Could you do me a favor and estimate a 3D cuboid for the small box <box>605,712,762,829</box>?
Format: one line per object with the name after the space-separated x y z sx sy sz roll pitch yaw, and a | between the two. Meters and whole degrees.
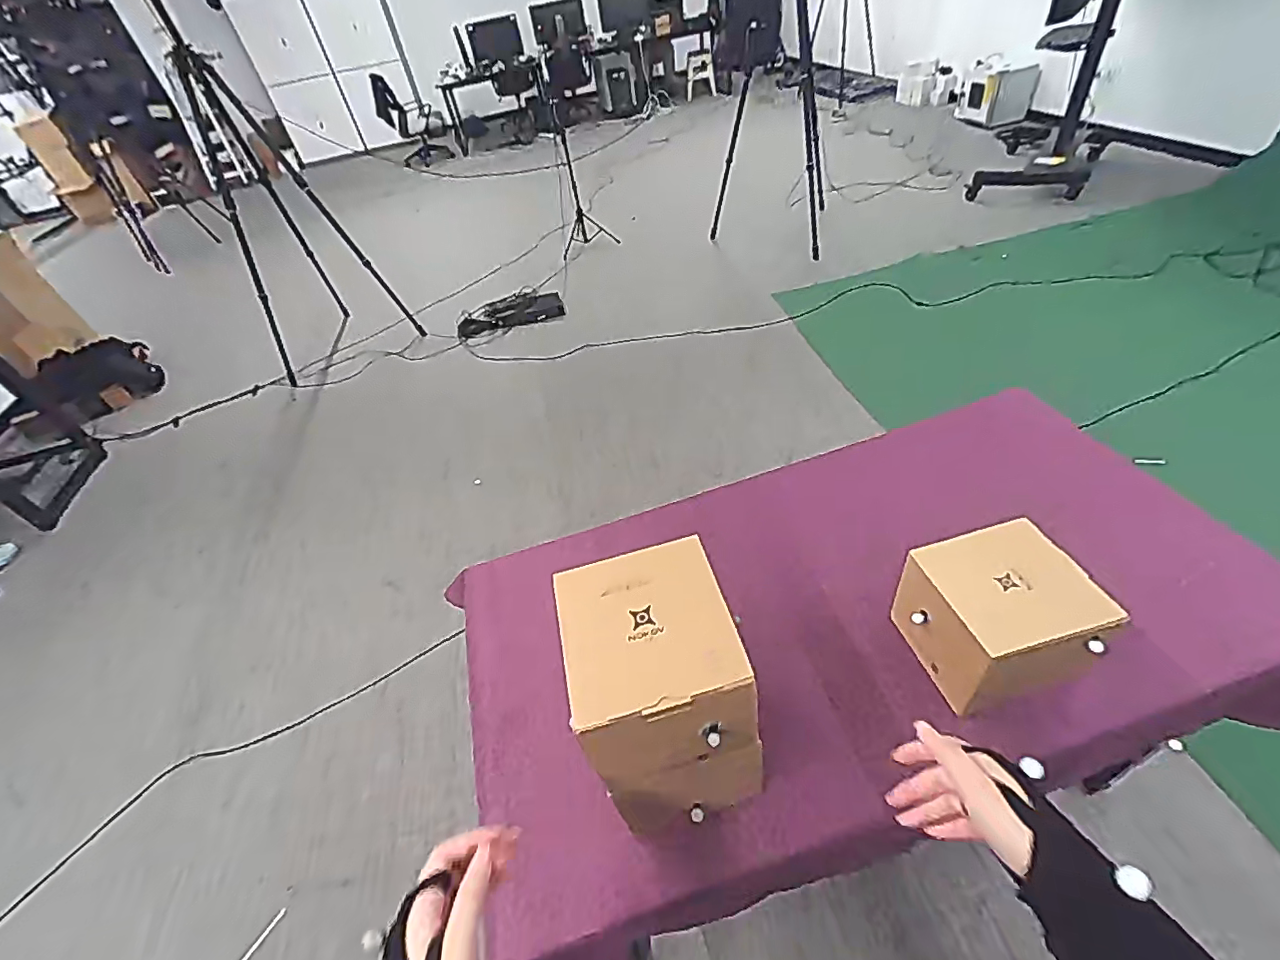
0.043 0.313 0.691 0.179 0.176 0.168 -16 43 -4 | small box

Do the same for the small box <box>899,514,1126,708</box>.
0.473 0.179 0.726 0.179 0.176 0.168 -15 44 -3 | small box

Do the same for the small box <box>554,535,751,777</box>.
0.015 0.194 0.581 0.168 0.176 0.179 -15 43 -3 | small box
